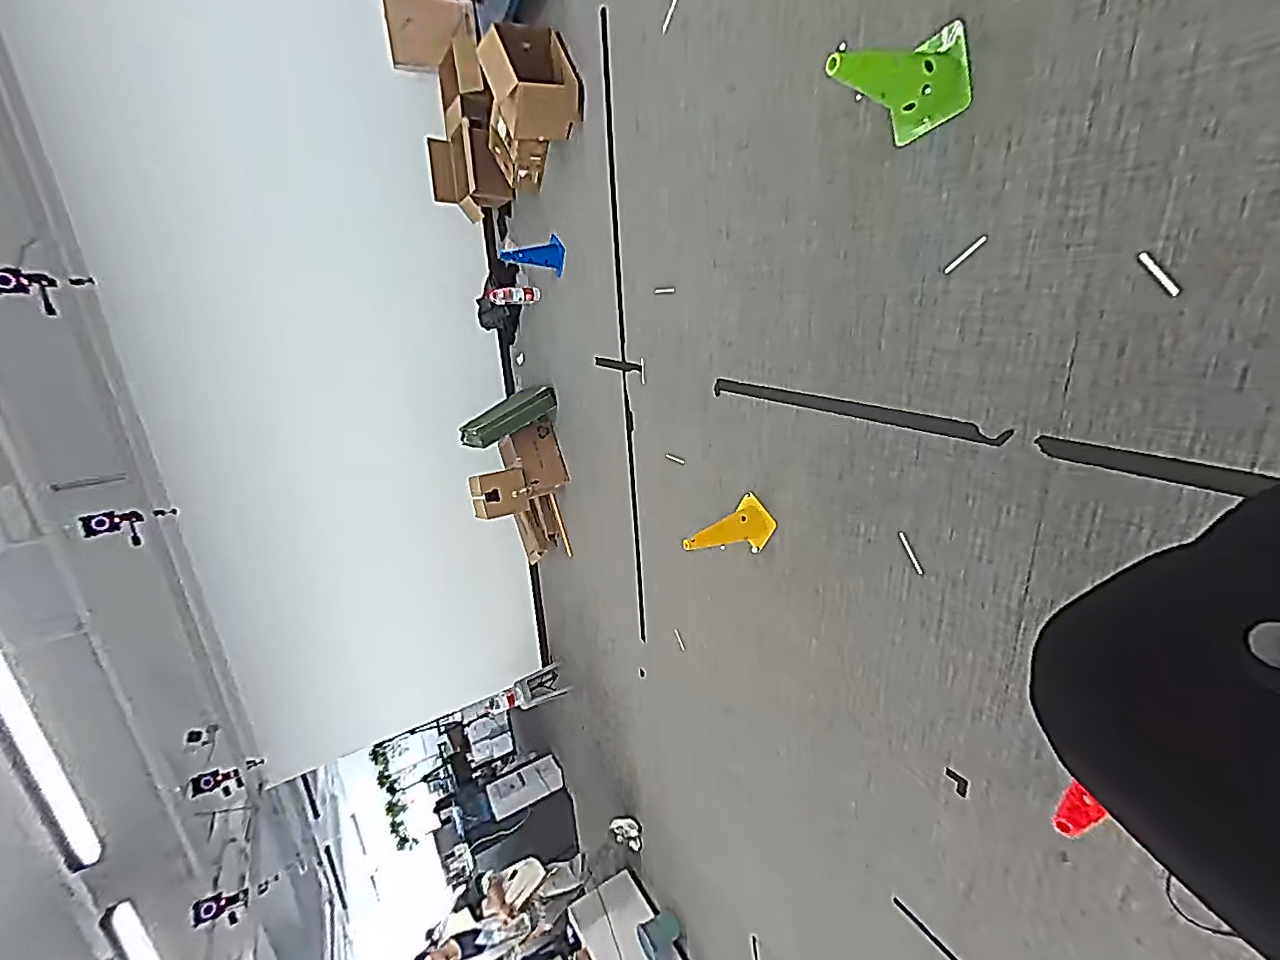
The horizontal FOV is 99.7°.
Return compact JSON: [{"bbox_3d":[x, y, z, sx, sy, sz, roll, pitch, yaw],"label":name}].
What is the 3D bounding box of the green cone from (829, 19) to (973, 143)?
[{"bbox_3d":[0.575,-0.951,1.267,0.202,0.368,0.200,-2,101,60],"label":"green cone"}]
